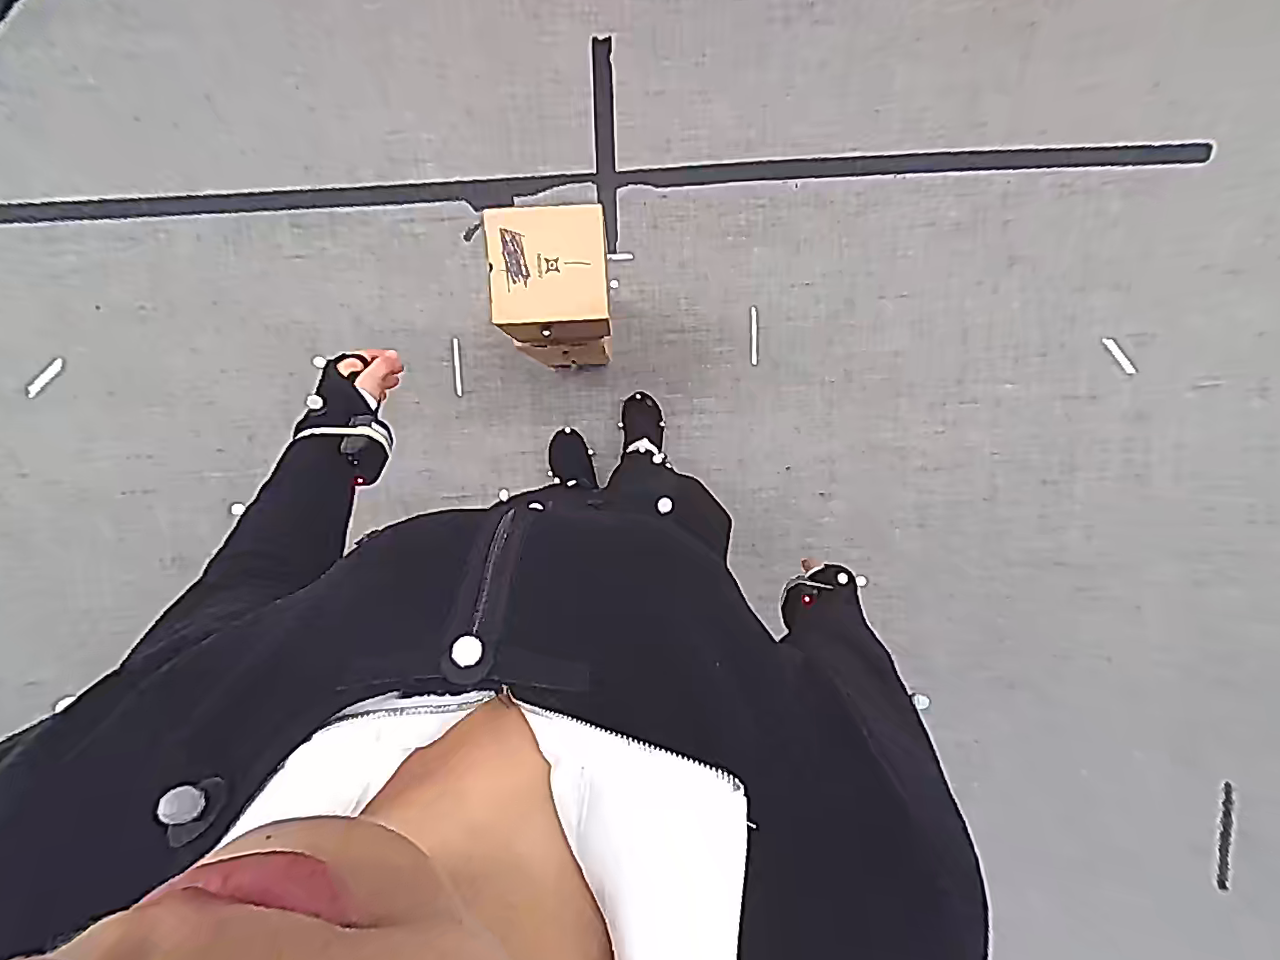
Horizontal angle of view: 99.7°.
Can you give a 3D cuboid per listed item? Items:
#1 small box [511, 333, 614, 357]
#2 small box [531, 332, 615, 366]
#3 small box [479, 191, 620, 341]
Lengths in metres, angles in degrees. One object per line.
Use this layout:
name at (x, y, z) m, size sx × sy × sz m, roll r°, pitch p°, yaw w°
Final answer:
small box at (-0.133, -0.311, 0.954) m, size 0.168 × 0.176 × 0.179 m, roll -2°, pitch 98°, yaw -1°
small box at (-0.137, -0.334, 1.116) m, size 0.168 × 0.176 × 0.179 m, roll -2°, pitch 98°, yaw 0°
small box at (-0.121, -0.299, 0.789) m, size 0.179 × 0.176 × 0.168 m, roll -3°, pitch 97°, yaw -2°
